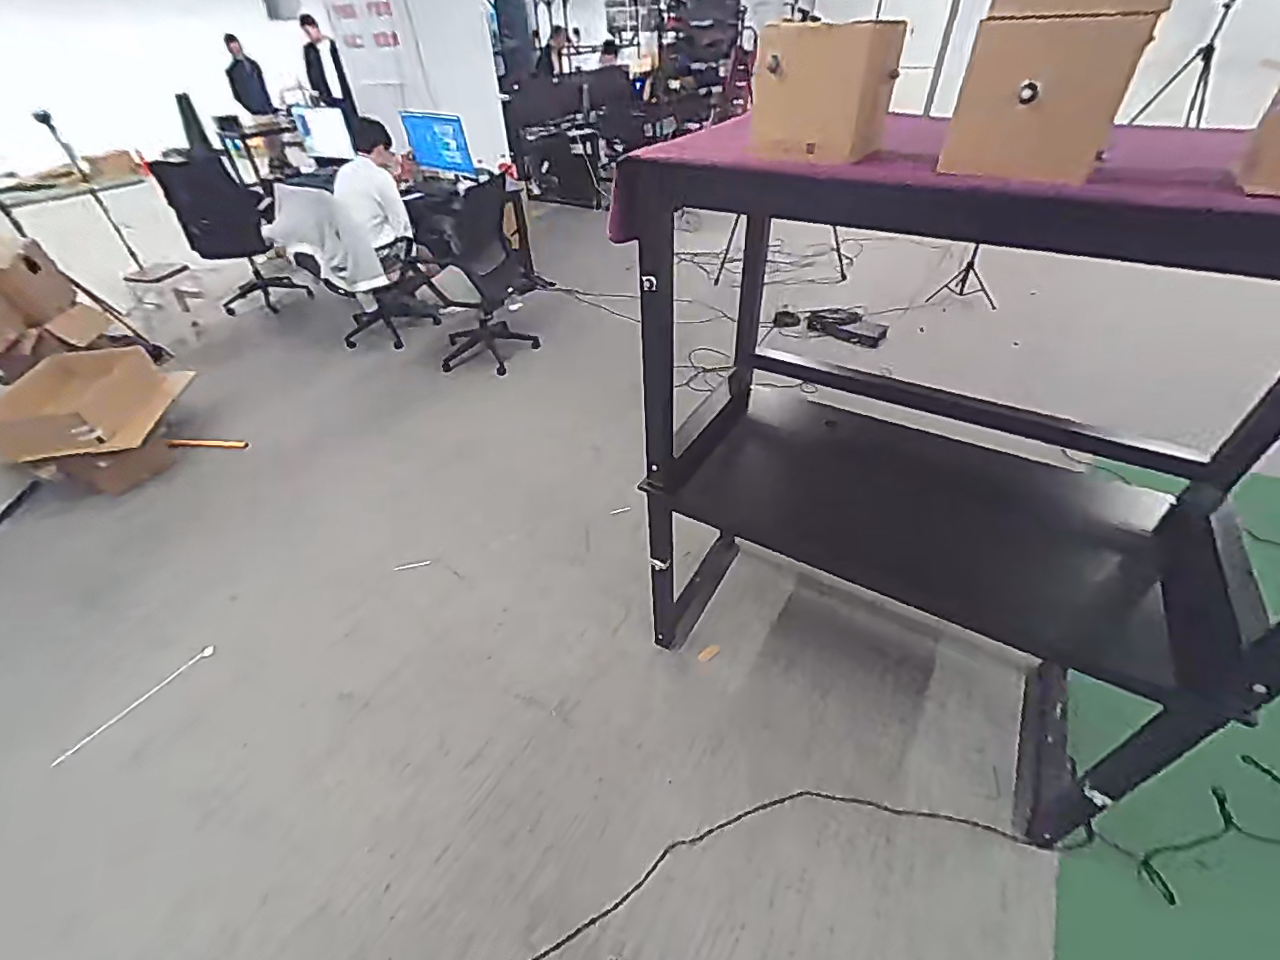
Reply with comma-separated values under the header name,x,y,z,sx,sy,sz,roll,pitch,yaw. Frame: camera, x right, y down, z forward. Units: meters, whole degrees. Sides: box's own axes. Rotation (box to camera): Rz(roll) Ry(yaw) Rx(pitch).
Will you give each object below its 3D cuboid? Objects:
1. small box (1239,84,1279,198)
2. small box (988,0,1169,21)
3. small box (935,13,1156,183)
name,x,y,z,sx,sy,sz,roll,pitch,yaw
small box,0.806,-0.405,0.582,0.179,0.176,0.168,23,47,28
small box,0.526,-0.630,0.612,0.179,0.176,0.168,22,46,28
small box,0.525,-0.502,0.714,0.179,0.176,0.168,24,46,30
